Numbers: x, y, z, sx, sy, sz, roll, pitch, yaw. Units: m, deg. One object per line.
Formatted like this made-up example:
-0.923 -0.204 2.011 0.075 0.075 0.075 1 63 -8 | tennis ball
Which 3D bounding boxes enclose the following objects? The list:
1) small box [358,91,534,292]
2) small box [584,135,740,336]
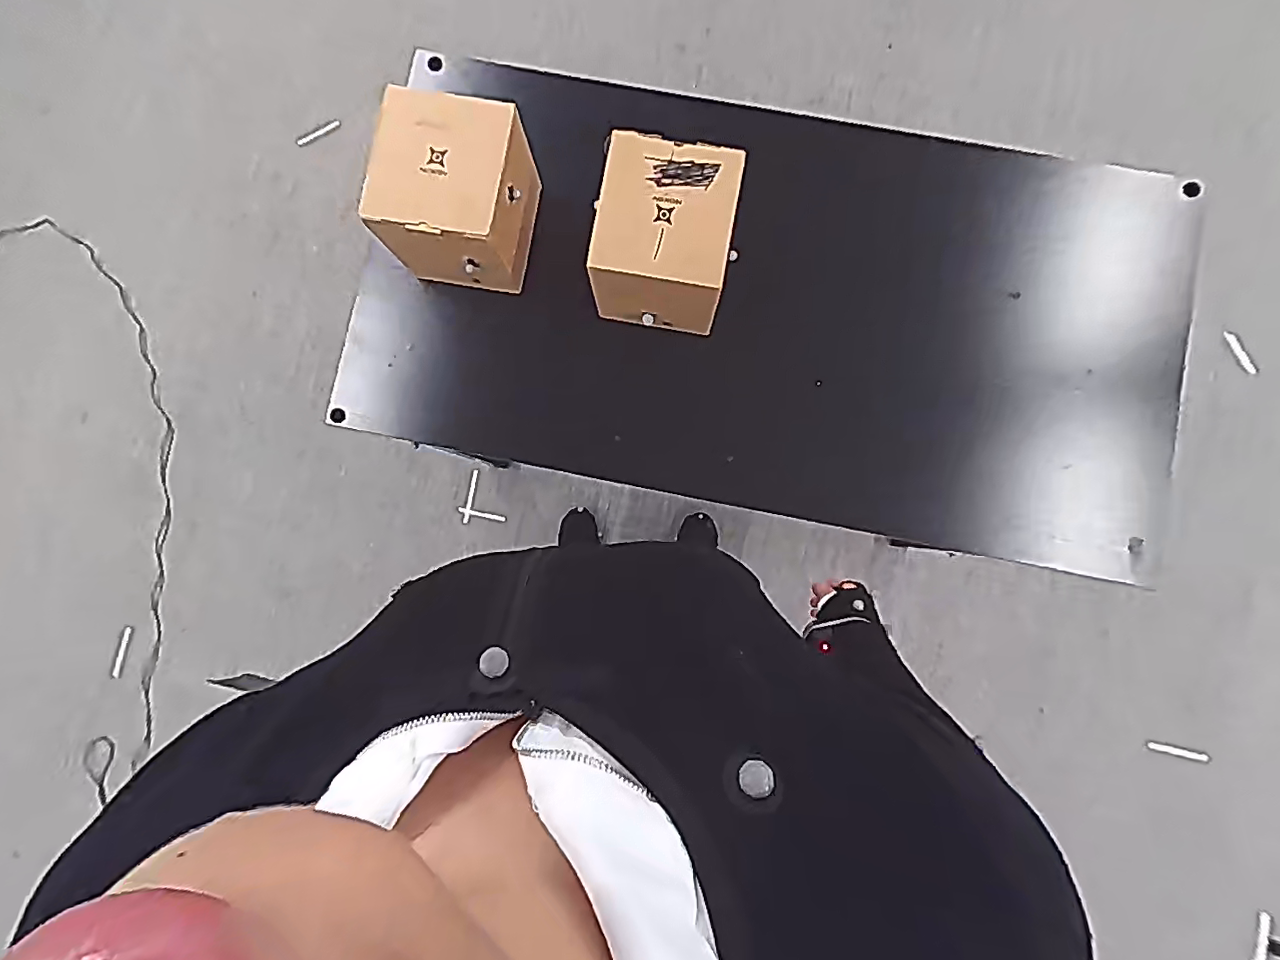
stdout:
-0.252 -0.381 0.745 0.168 0.176 0.179 9 85 1 | small box
0.028 -0.318 0.733 0.168 0.176 0.179 10 86 2 | small box
